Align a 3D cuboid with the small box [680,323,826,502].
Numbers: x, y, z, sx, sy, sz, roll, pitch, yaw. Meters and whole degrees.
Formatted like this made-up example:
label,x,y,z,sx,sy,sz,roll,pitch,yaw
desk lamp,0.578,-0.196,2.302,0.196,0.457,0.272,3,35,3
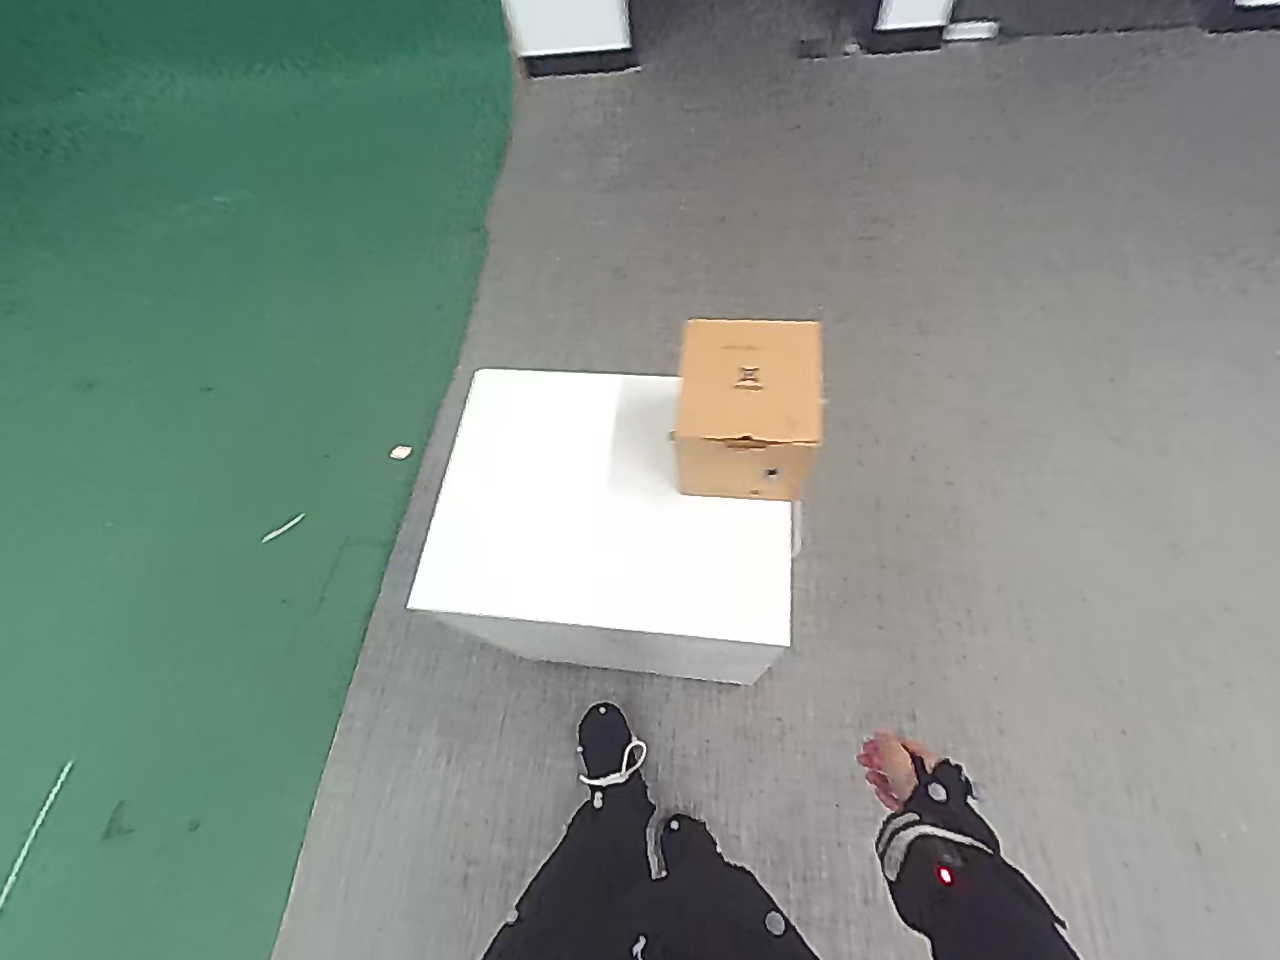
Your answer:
label,x,y,z,sx,sy,sz,roll,pitch,yaw
small box,0.145,-0.083,0.713,0.168,0.176,0.179,4,64,8
